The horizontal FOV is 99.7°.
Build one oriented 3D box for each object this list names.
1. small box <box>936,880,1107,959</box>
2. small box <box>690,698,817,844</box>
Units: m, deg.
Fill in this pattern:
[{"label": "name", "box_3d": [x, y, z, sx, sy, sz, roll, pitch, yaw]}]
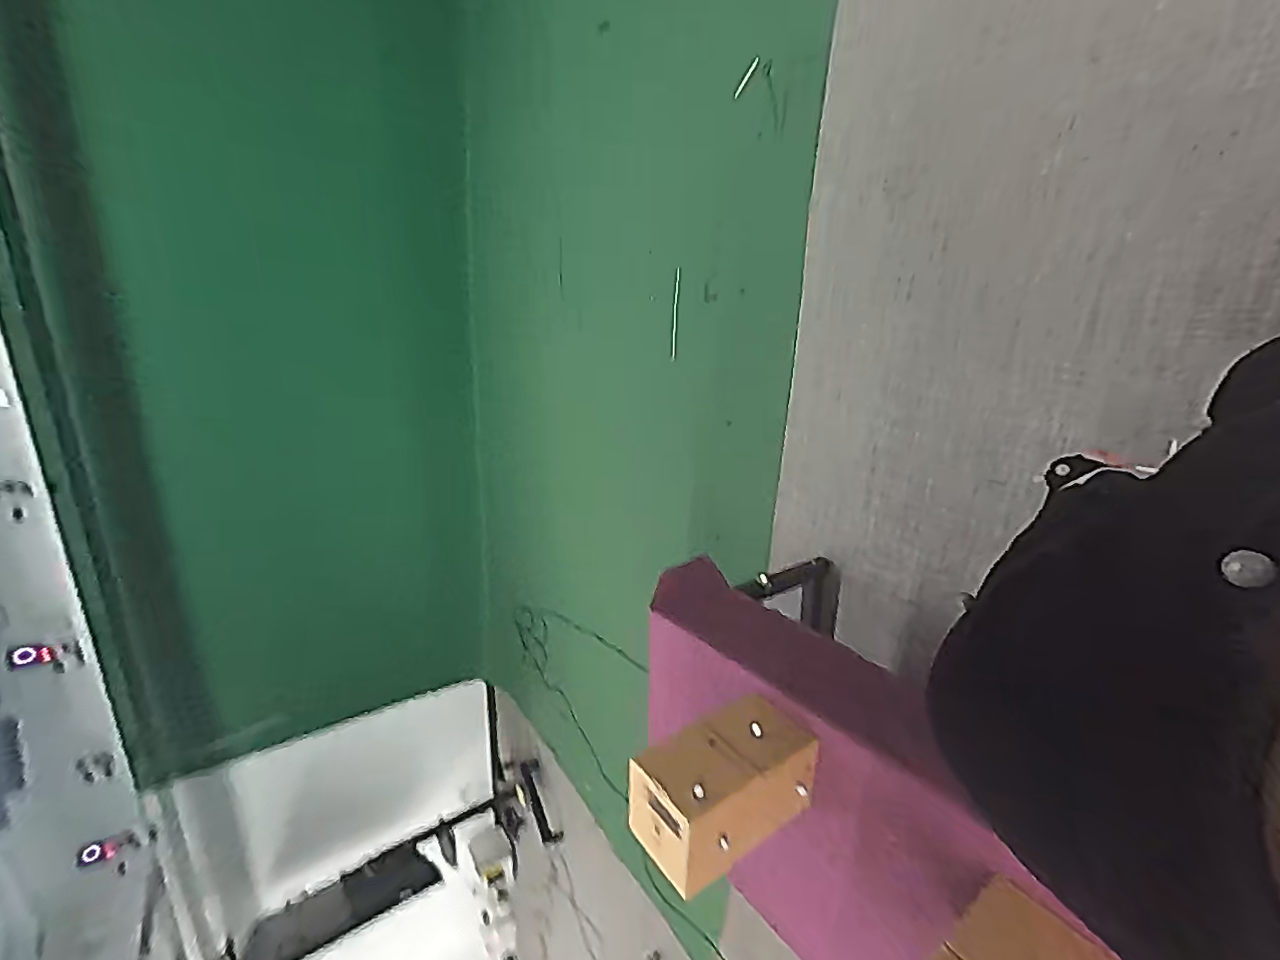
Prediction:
[{"label": "small box", "box_3d": [0.507, 0.690, 0.711, 0.179, 0.176, 0.168, 24, 117, 51]}, {"label": "small box", "box_3d": [0.224, 0.568, 1.088, 0.179, 0.176, 0.168, 23, 116, 50]}]
